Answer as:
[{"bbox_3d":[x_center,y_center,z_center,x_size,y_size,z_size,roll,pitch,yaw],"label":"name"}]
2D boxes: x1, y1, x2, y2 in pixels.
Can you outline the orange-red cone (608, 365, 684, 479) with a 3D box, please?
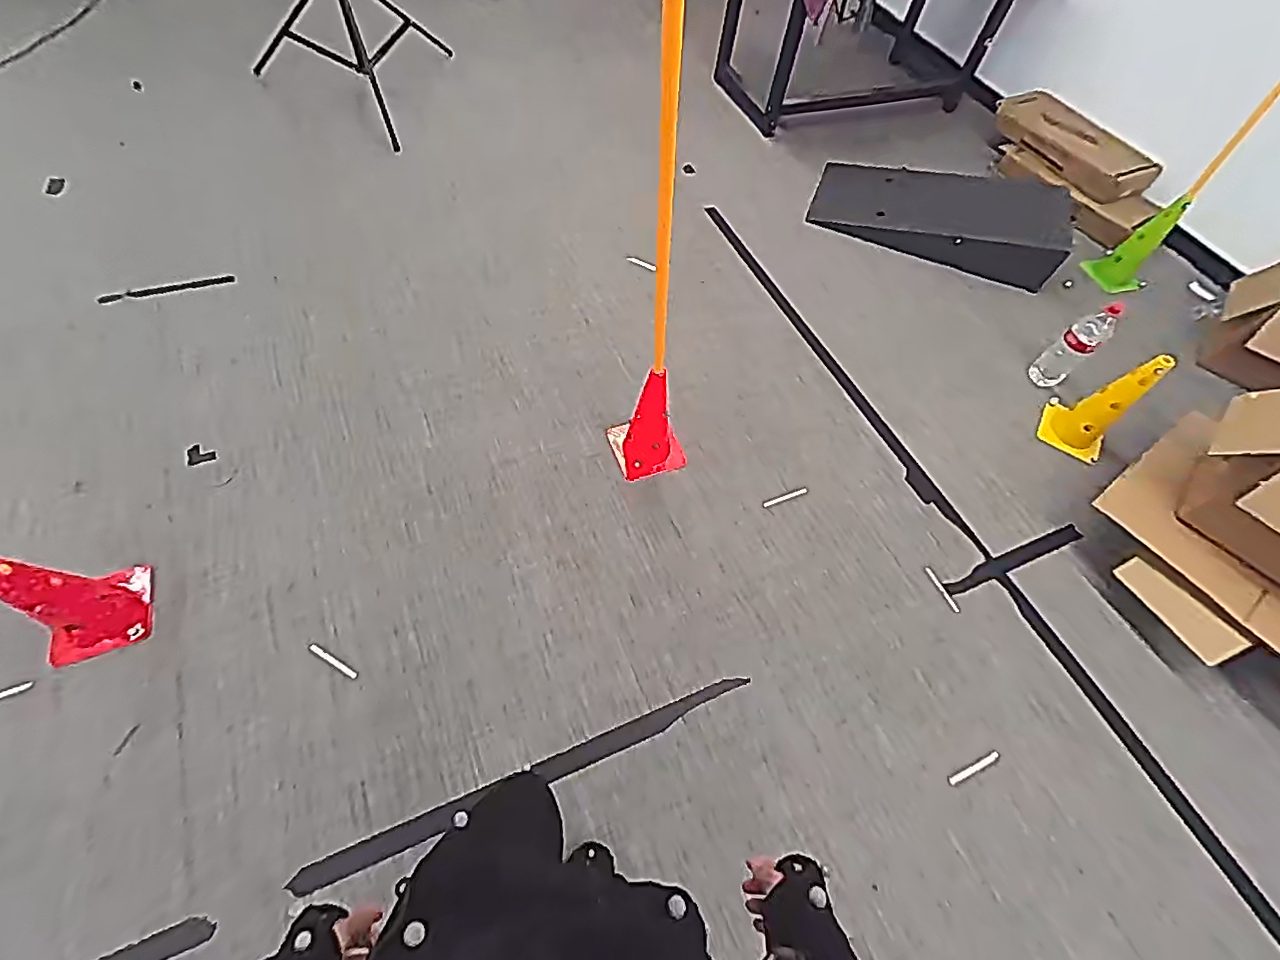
[{"bbox_3d":[0.031,-0.187,1.495,0.199,0.360,0.198,-15,63,-15],"label":"orange-red cone"}]
